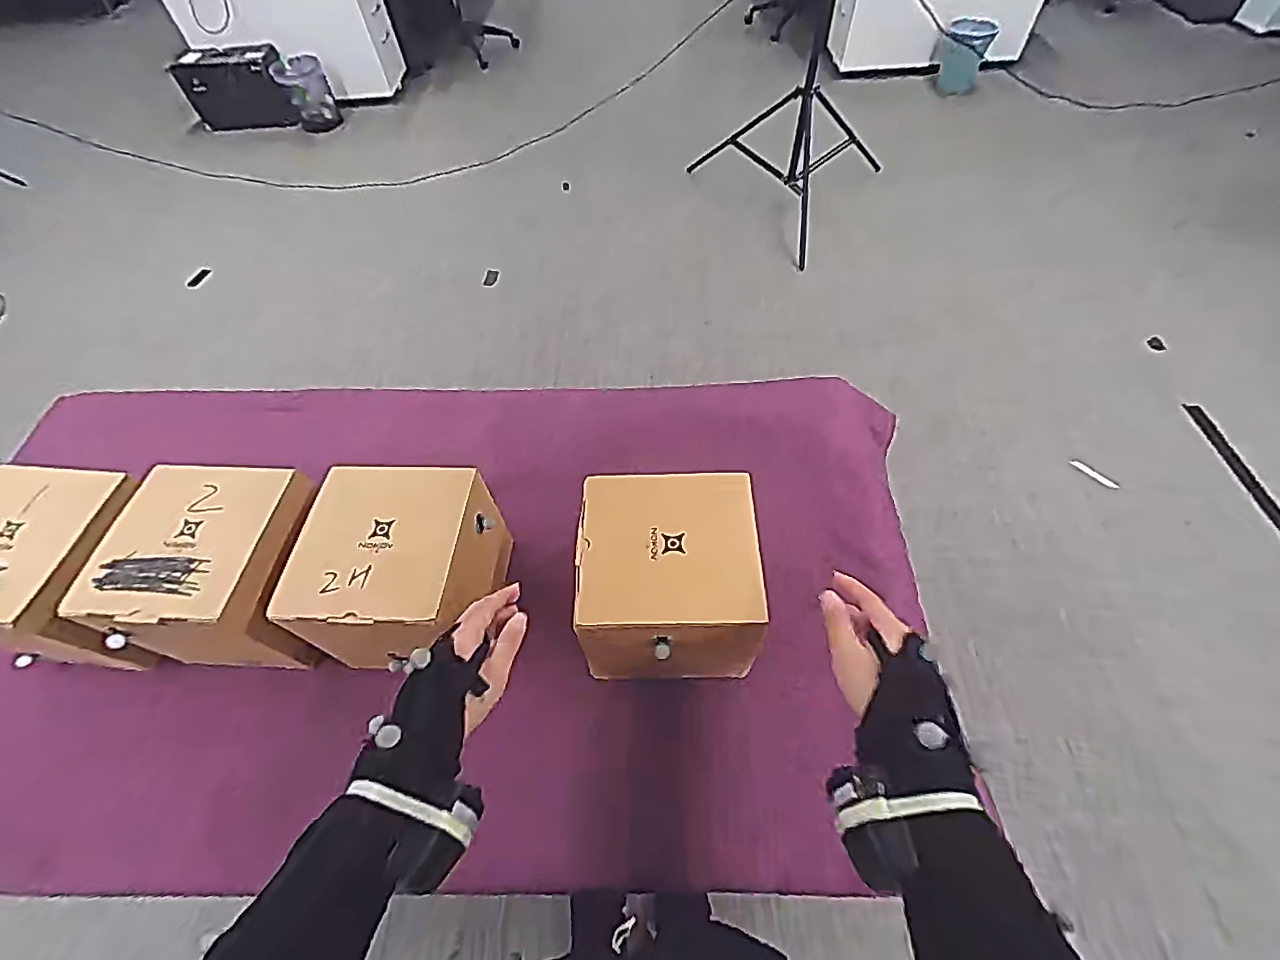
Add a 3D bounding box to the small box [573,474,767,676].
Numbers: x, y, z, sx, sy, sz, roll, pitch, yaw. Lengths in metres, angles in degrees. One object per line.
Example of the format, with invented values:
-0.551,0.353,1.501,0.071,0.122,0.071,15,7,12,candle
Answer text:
0.031,0.108,0.591,0.179,0.176,0.168,-2,55,3,small box
